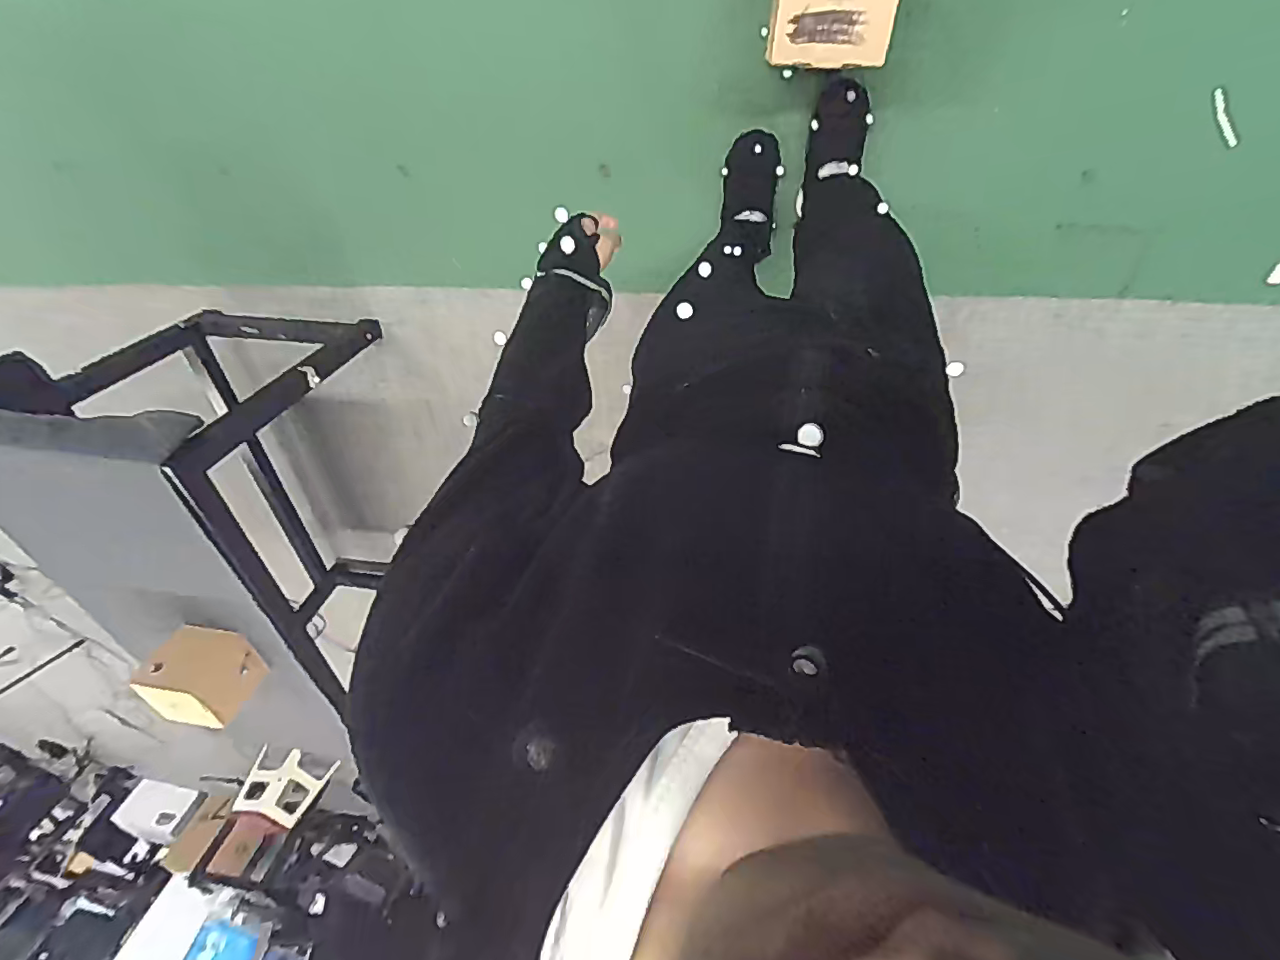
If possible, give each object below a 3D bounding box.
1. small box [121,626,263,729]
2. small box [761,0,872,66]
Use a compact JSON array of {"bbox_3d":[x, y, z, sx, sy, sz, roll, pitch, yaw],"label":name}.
[{"bbox_3d":[-1.093,0.483,1.336,0.179,0.176,0.168,5,130,8],"label":"small box"},{"bbox_3d":[0.305,-0.835,0.941,0.168,0.176,0.179,6,129,6],"label":"small box"}]
